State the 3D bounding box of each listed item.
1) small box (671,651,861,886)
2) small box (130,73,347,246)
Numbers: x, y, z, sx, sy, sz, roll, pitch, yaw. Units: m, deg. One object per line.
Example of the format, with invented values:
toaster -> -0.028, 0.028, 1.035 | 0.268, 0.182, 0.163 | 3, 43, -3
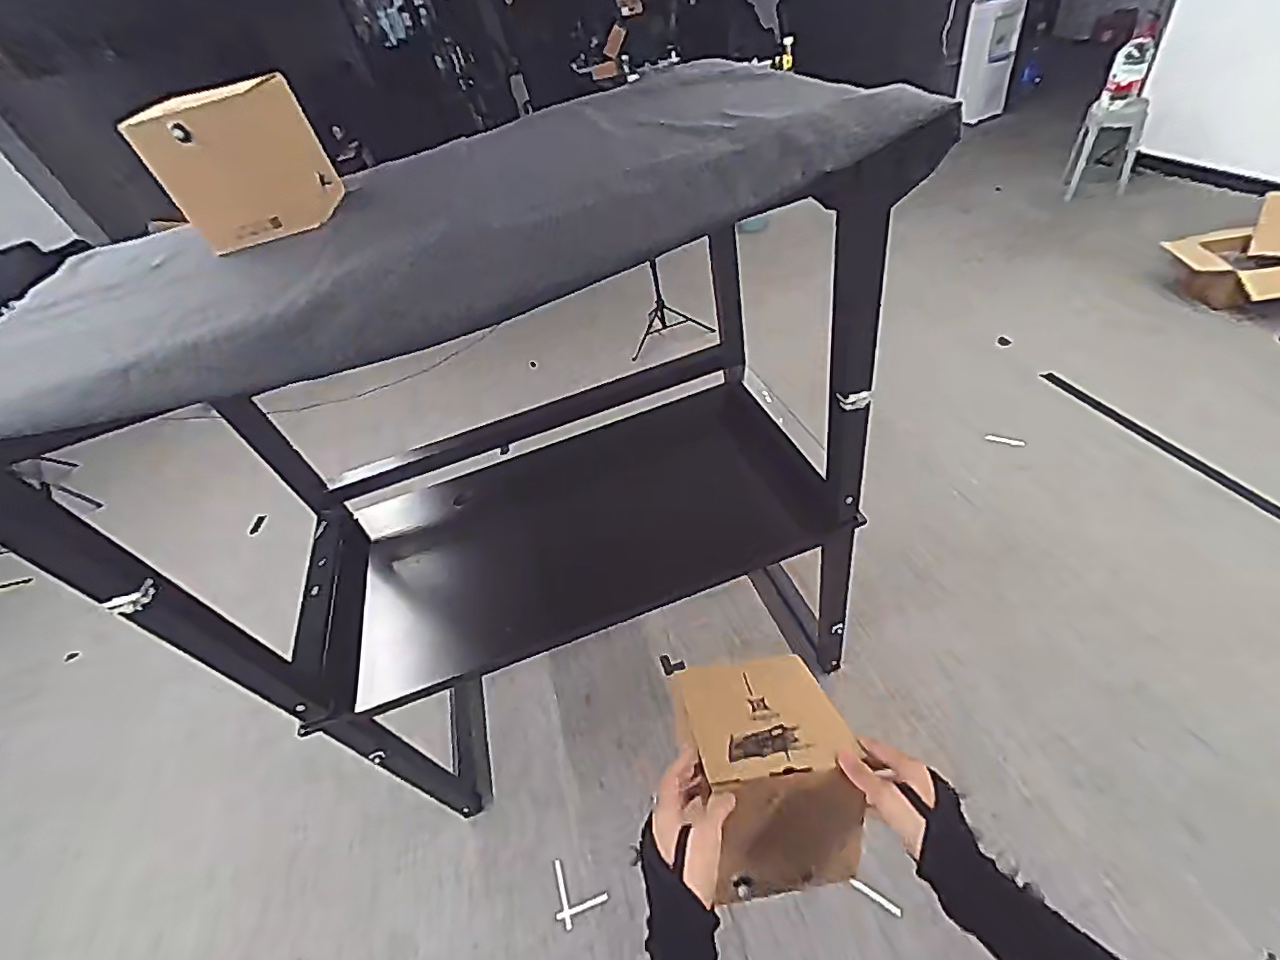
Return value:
small box -> 0.135, 0.331, 0.630 | 0.168, 0.176, 0.179 | -5, 18, -7
small box -> -0.562, -0.467, 0.792 | 0.168, 0.176, 0.179 | -16, 44, -1
